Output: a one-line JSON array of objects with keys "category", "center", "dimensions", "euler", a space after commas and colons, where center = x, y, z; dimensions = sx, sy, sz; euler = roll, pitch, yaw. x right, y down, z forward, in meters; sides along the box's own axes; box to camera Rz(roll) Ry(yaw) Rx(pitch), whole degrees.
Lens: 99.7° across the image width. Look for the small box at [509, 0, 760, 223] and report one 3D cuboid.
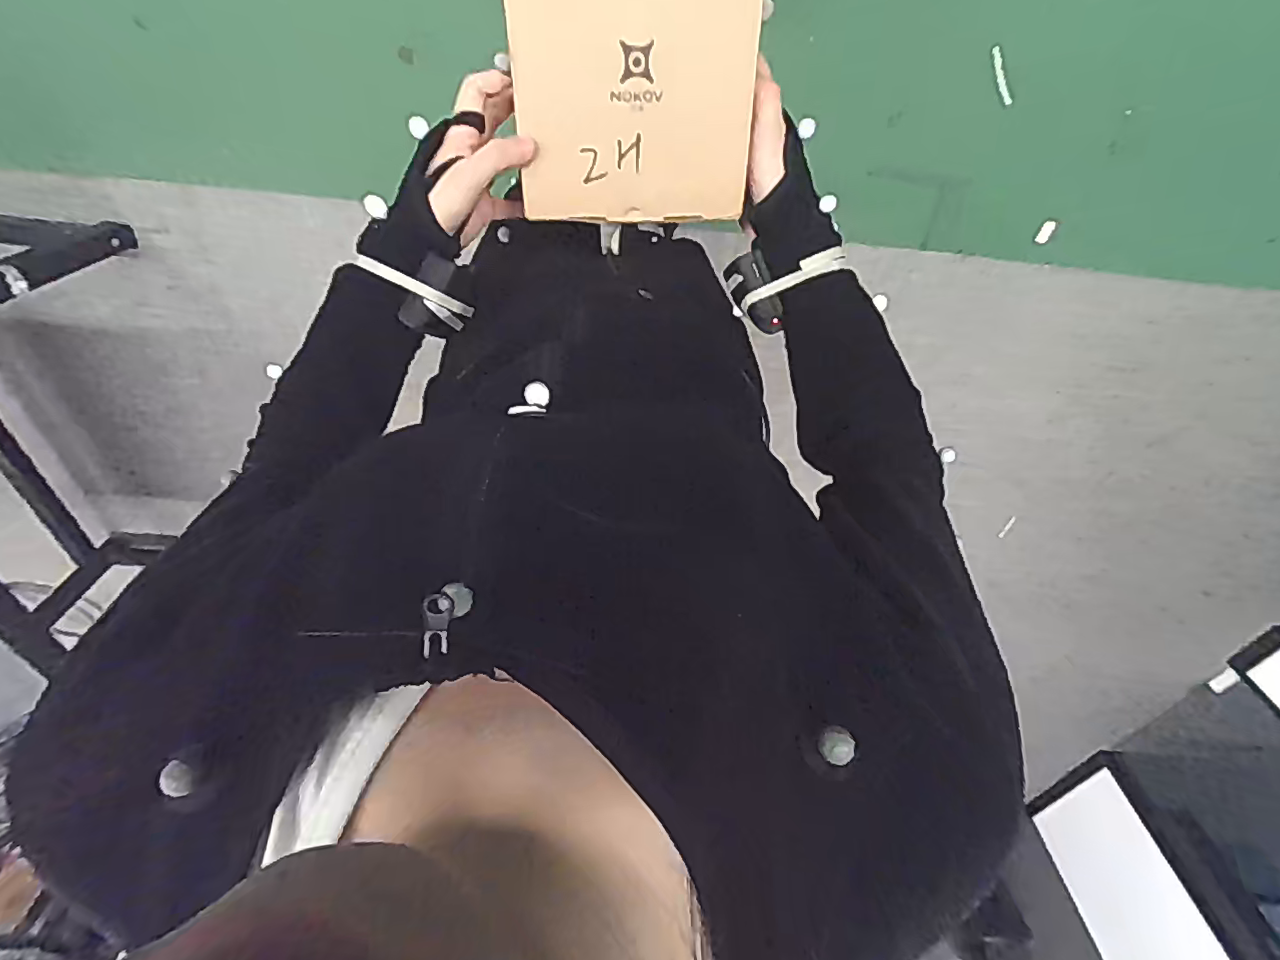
[{"category": "small box", "center": [-0.014, -0.316, 0.435], "dimensions": [0.168, 0.176, 0.179], "euler": [-2, 124, -6]}]
